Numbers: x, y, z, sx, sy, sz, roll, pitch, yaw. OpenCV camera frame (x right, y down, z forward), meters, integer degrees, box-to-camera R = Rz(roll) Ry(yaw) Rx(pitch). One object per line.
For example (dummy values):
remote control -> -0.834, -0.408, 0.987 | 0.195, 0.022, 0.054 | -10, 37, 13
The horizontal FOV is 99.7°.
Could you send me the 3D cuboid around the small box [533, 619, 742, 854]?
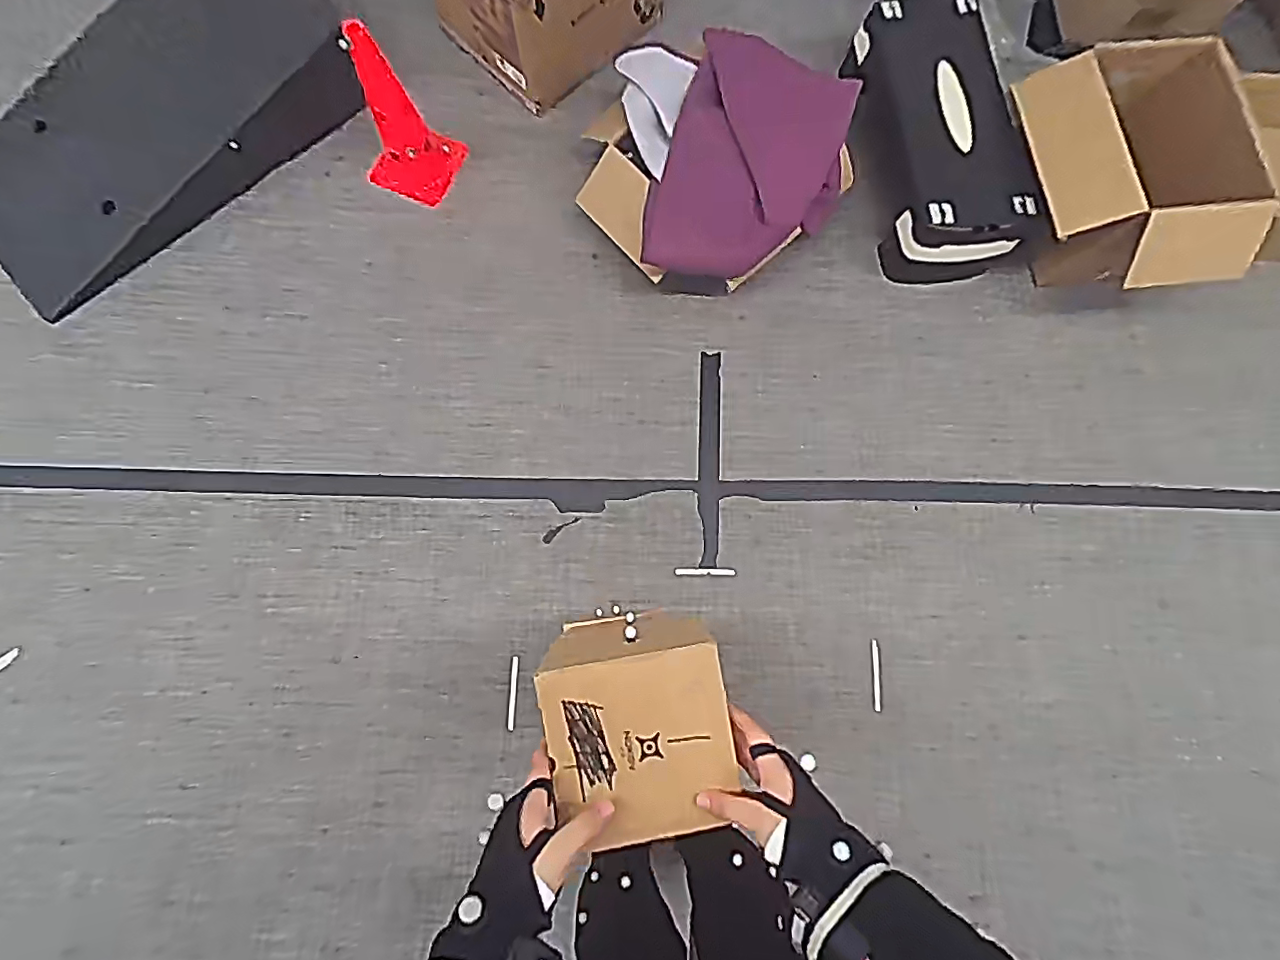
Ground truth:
small box -> -0.006, 0.255, 0.581 | 0.179, 0.176, 0.168 | -9, 85, -4
